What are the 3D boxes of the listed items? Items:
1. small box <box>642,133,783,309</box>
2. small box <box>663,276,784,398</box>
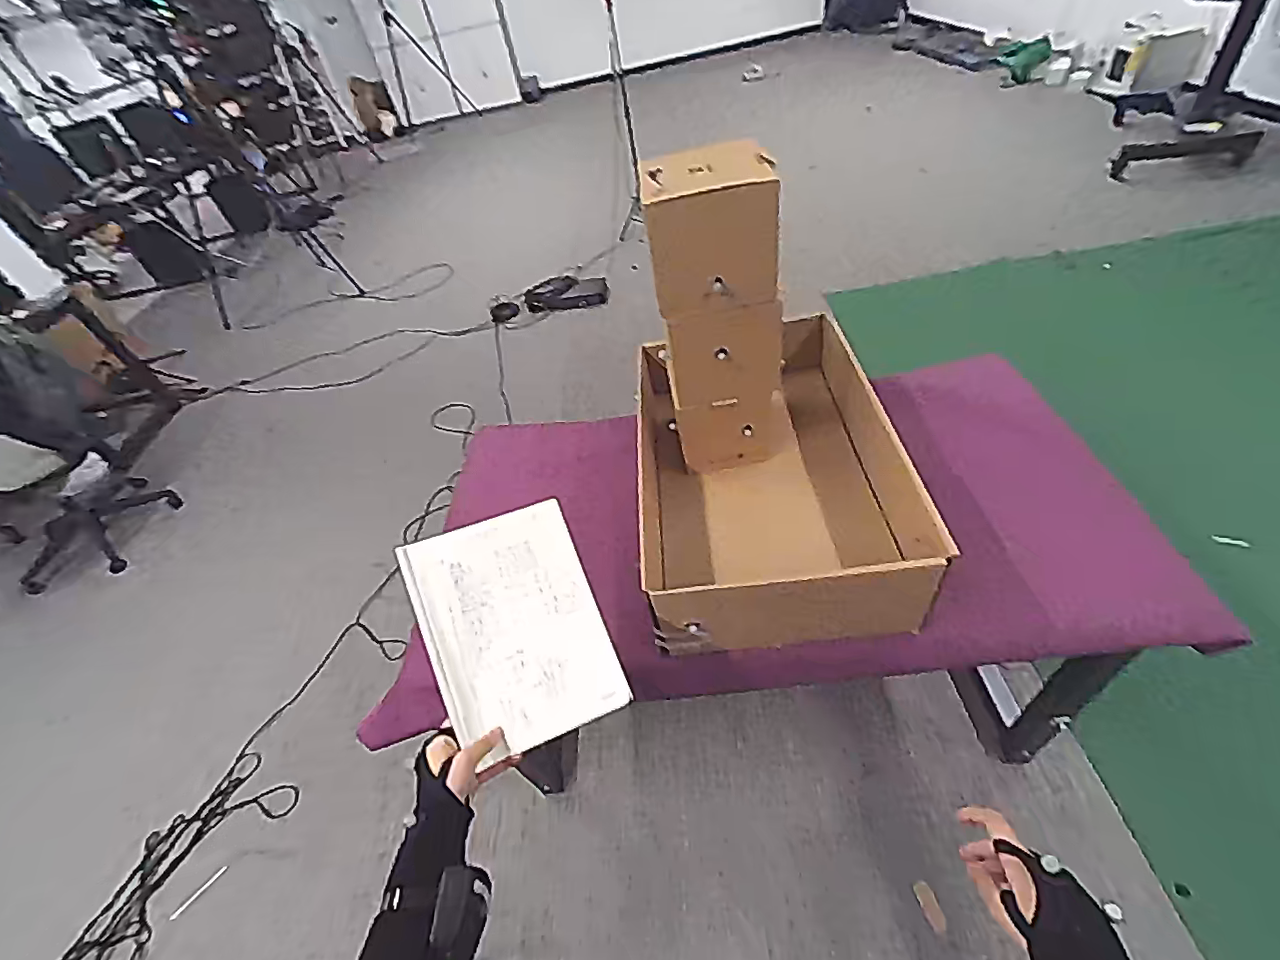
[{"bbox_3d":[0.101,-0.371,0.784,0.179,0.176,0.168,-7,46,5],"label":"small box"},{"bbox_3d":[0.131,-0.259,0.900,0.179,0.176,0.168,-10,46,5],"label":"small box"}]
